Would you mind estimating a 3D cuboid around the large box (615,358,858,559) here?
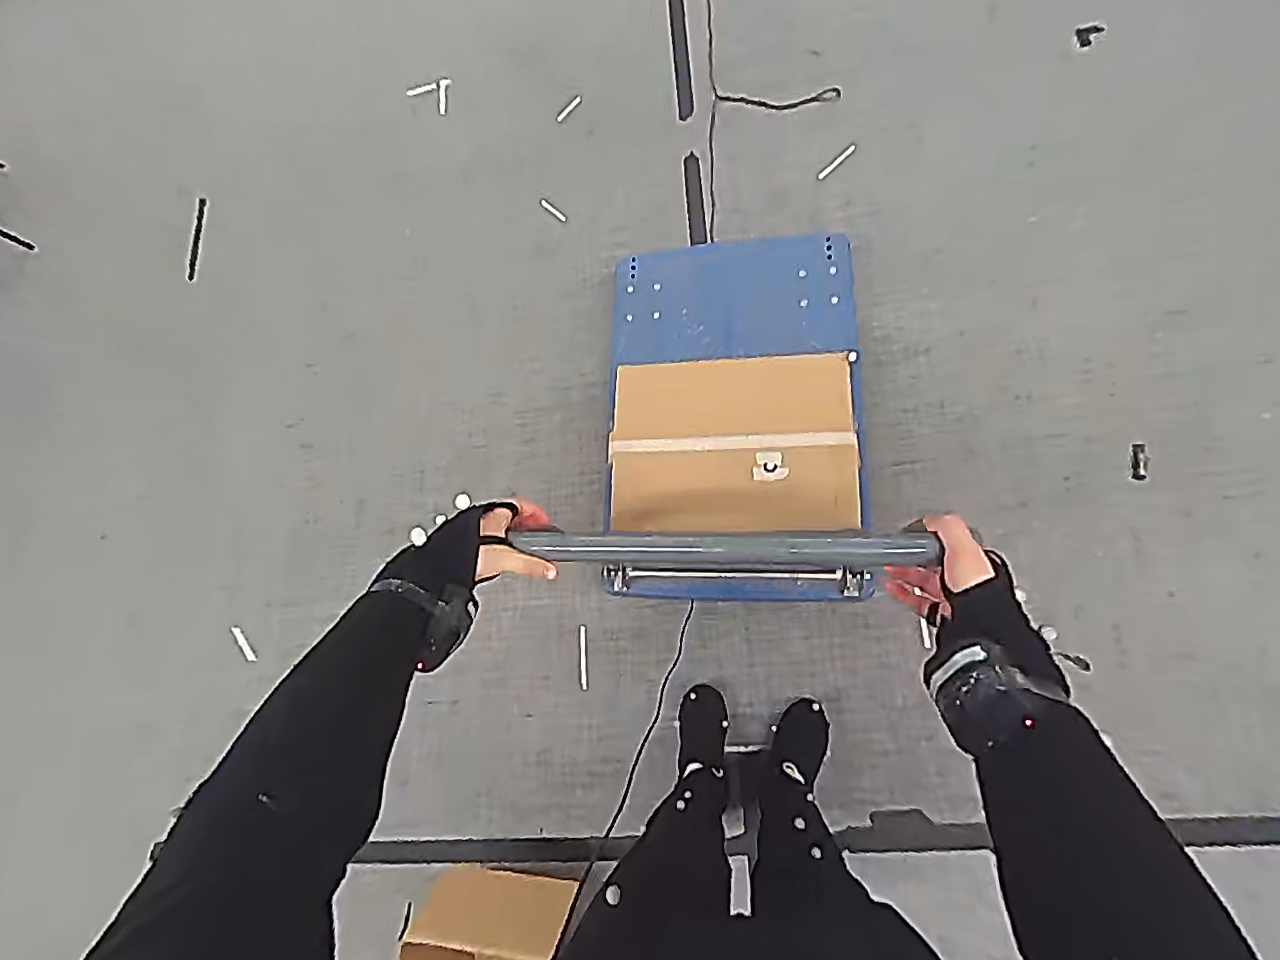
[{"bbox_3d":[0.178,-0.018,1.067,0.408,0.320,0.320,-2,76,10],"label":"large box"}]
